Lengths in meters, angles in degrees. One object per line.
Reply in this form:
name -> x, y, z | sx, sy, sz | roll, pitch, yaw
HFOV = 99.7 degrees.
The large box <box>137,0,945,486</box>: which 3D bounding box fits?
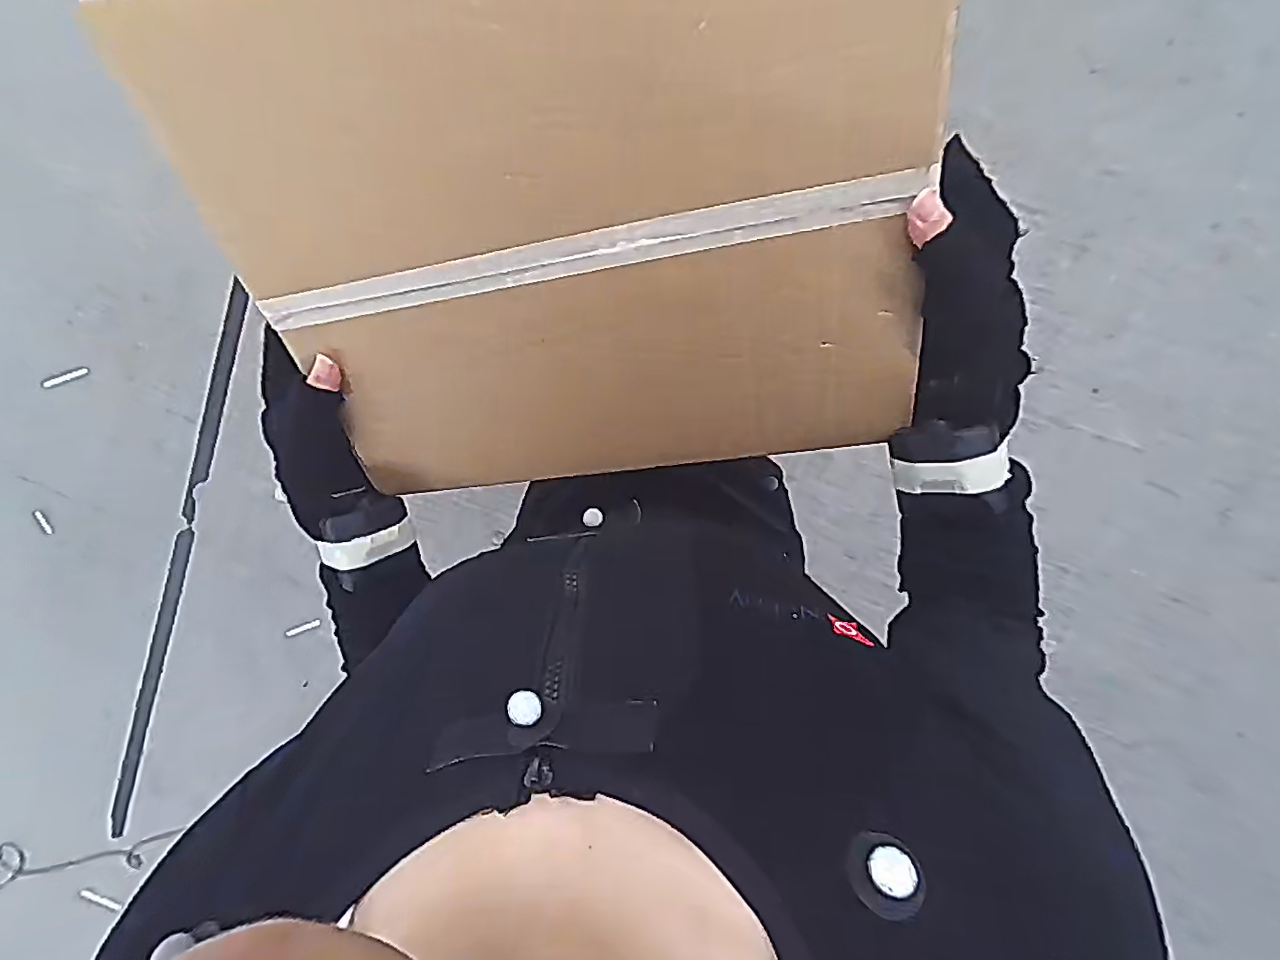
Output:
large box -> -0.029, -0.225, 0.444 | 0.408, 0.320, 0.320 | -6, 129, 11
